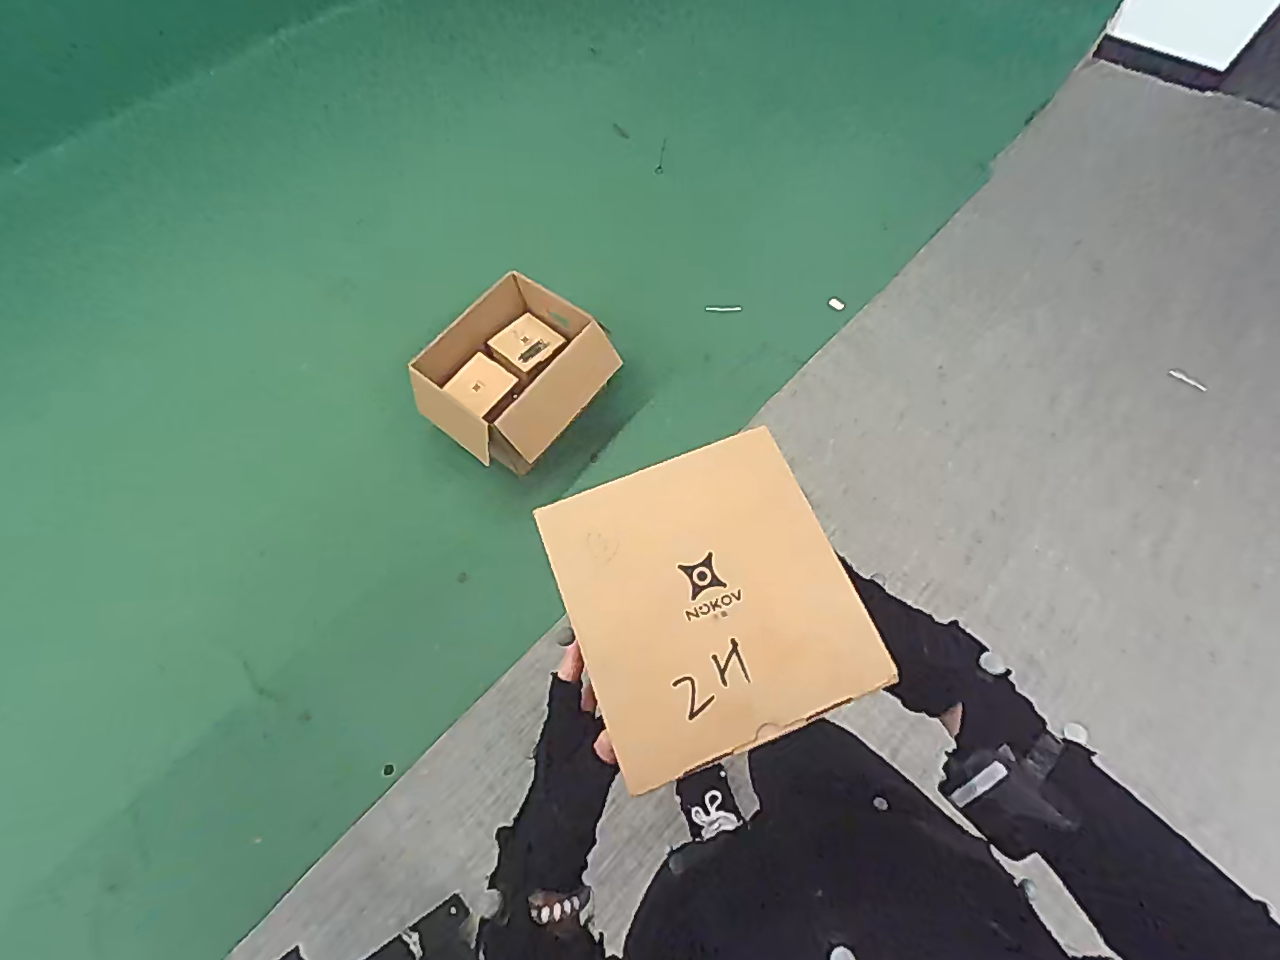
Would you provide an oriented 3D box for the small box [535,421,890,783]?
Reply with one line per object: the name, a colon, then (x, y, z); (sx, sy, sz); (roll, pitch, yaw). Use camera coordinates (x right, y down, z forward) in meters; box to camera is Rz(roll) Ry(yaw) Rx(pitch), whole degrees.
small box: (0.038, 0.089, 0.400); (0.168, 0.176, 0.179); (-21, 72, -6)
